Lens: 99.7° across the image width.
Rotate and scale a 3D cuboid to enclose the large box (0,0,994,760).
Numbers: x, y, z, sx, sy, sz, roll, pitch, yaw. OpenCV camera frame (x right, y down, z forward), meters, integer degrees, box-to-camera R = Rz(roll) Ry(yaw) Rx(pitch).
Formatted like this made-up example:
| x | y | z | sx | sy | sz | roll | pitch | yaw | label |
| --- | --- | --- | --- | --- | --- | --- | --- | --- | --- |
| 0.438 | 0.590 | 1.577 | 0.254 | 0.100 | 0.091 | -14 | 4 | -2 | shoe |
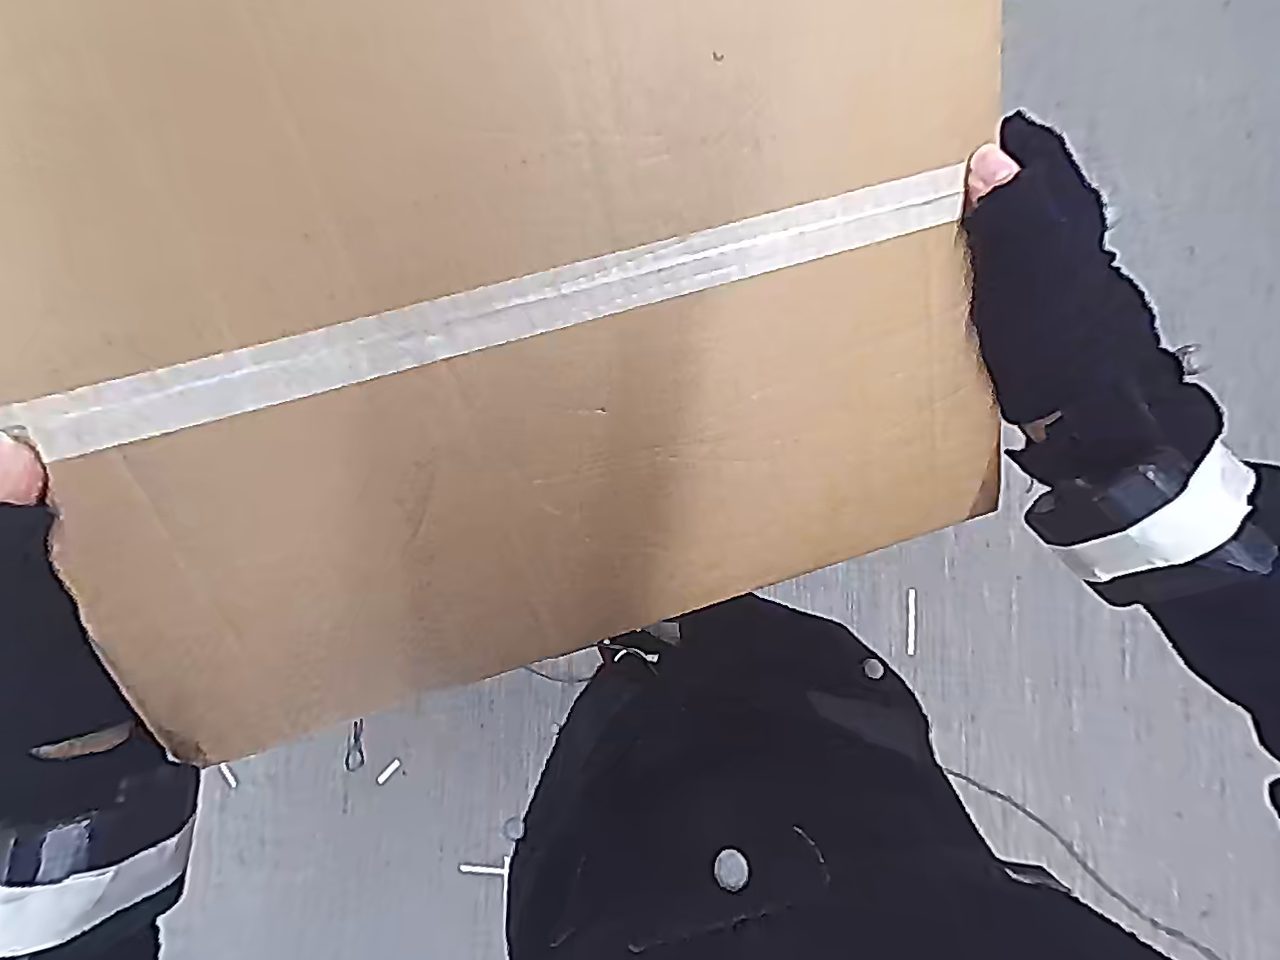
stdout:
| x | y | z | sx | sy | sz | roll | pitch | yaw | label |
| --- | --- | --- | --- | --- | --- | --- | --- | --- | --- |
| -0.065 | -0.110 | 0.354 | 0.408 | 0.320 | 0.320 | -16 | 111 | -6 | large box |
